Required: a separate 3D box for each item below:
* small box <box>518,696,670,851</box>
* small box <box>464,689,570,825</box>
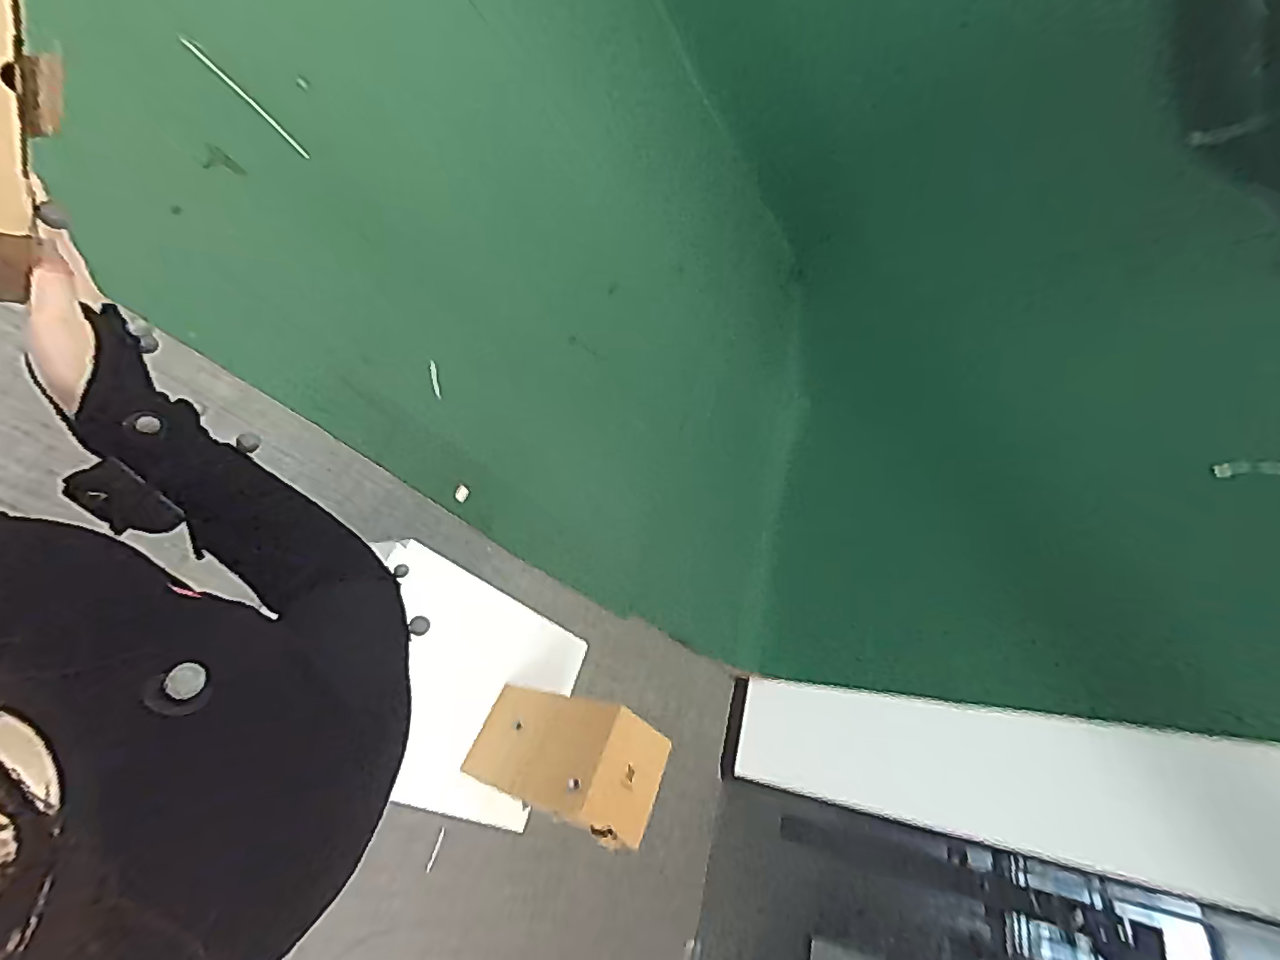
[{"bbox_3d":[-0.081,0.498,0.939,0.168,0.176,0.179,50,50,-32],"label":"small box"},{"bbox_3d":[-0.204,0.524,1.043,0.168,0.176,0.179,50,48,-31],"label":"small box"}]
